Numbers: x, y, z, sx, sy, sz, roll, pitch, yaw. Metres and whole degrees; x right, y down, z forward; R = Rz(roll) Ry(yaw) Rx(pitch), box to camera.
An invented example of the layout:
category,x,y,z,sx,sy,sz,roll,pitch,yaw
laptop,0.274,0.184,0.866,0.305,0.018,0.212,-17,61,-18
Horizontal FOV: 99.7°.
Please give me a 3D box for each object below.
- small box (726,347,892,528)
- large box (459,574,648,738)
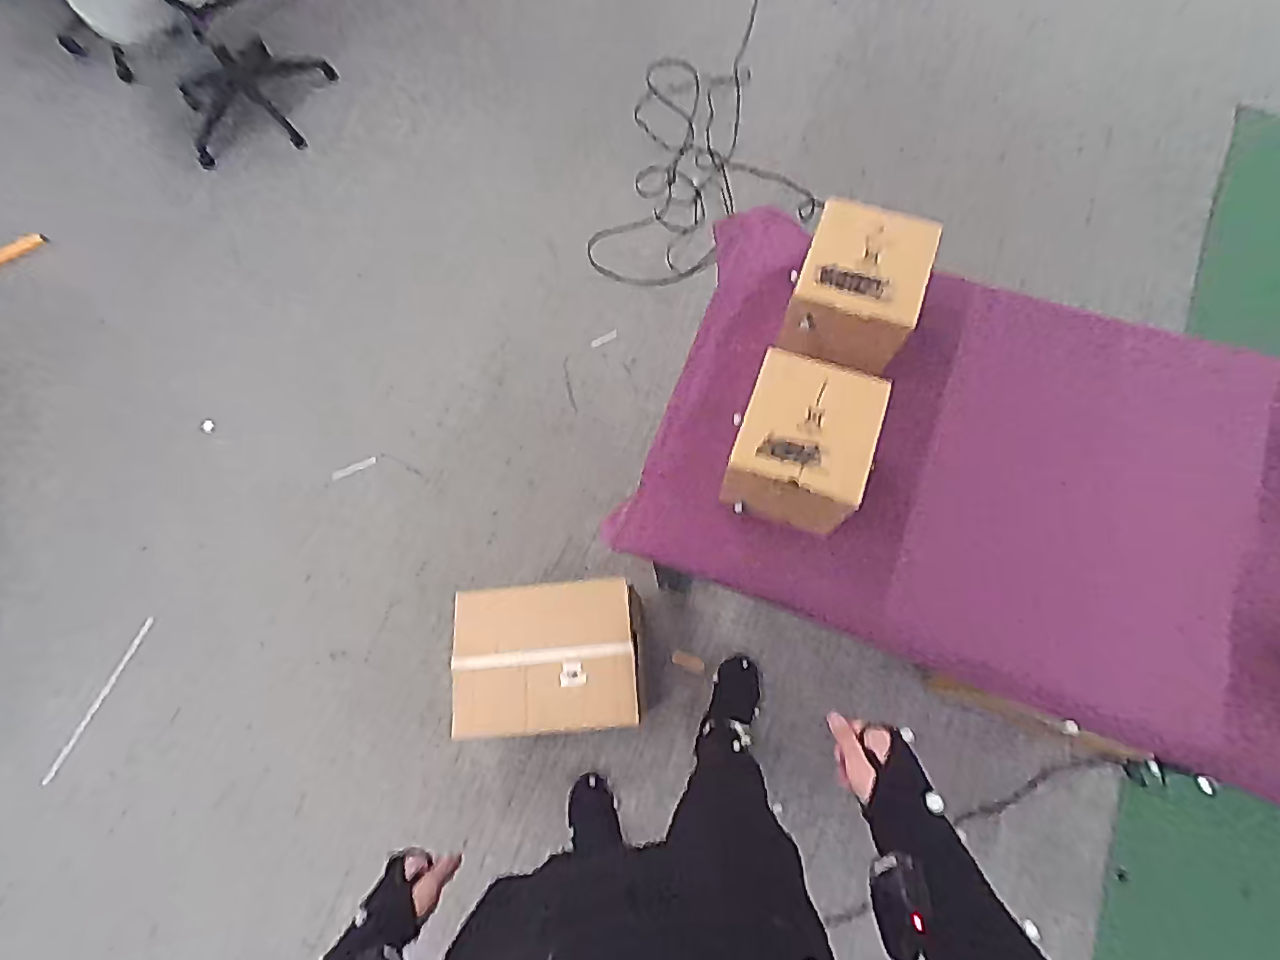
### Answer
category,x,y,z,sx,sy,sz,roll,pitch,yaw
small box,0.224,-0.049,0.759,0.168,0.176,0.179,19,72,10
large box,-0.196,0.429,1.328,0.408,0.320,0.320,-6,72,1
